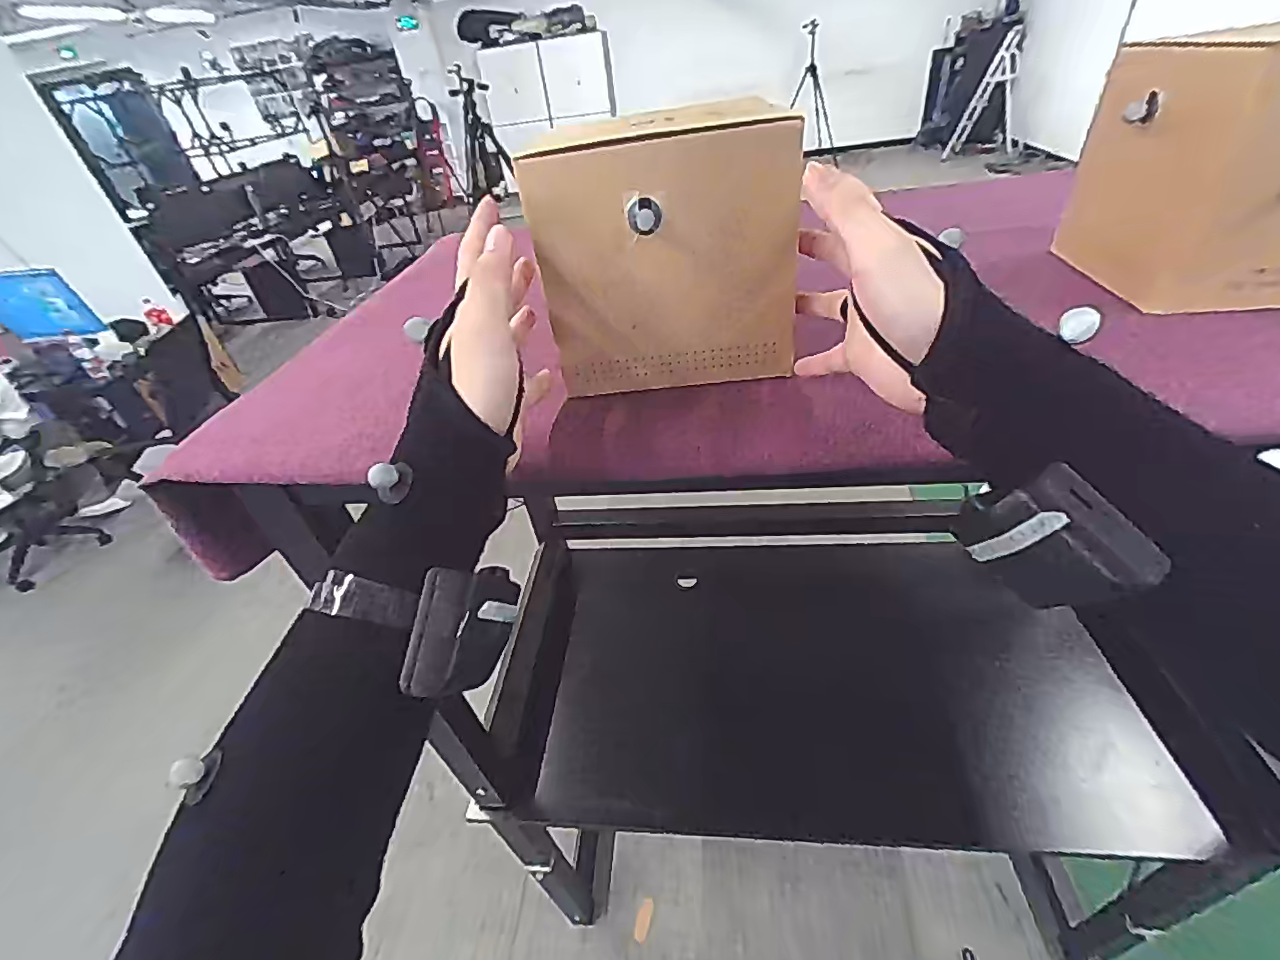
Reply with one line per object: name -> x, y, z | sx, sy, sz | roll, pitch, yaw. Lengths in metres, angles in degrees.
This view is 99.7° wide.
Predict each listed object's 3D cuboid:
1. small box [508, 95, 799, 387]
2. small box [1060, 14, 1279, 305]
small box -> 0.019, -0.184, 0.423 | 0.179, 0.176, 0.168 | -5, 38, 6
small box -> 0.464, -0.238, 0.405 | 0.168, 0.176, 0.179 | -1, 37, 12
